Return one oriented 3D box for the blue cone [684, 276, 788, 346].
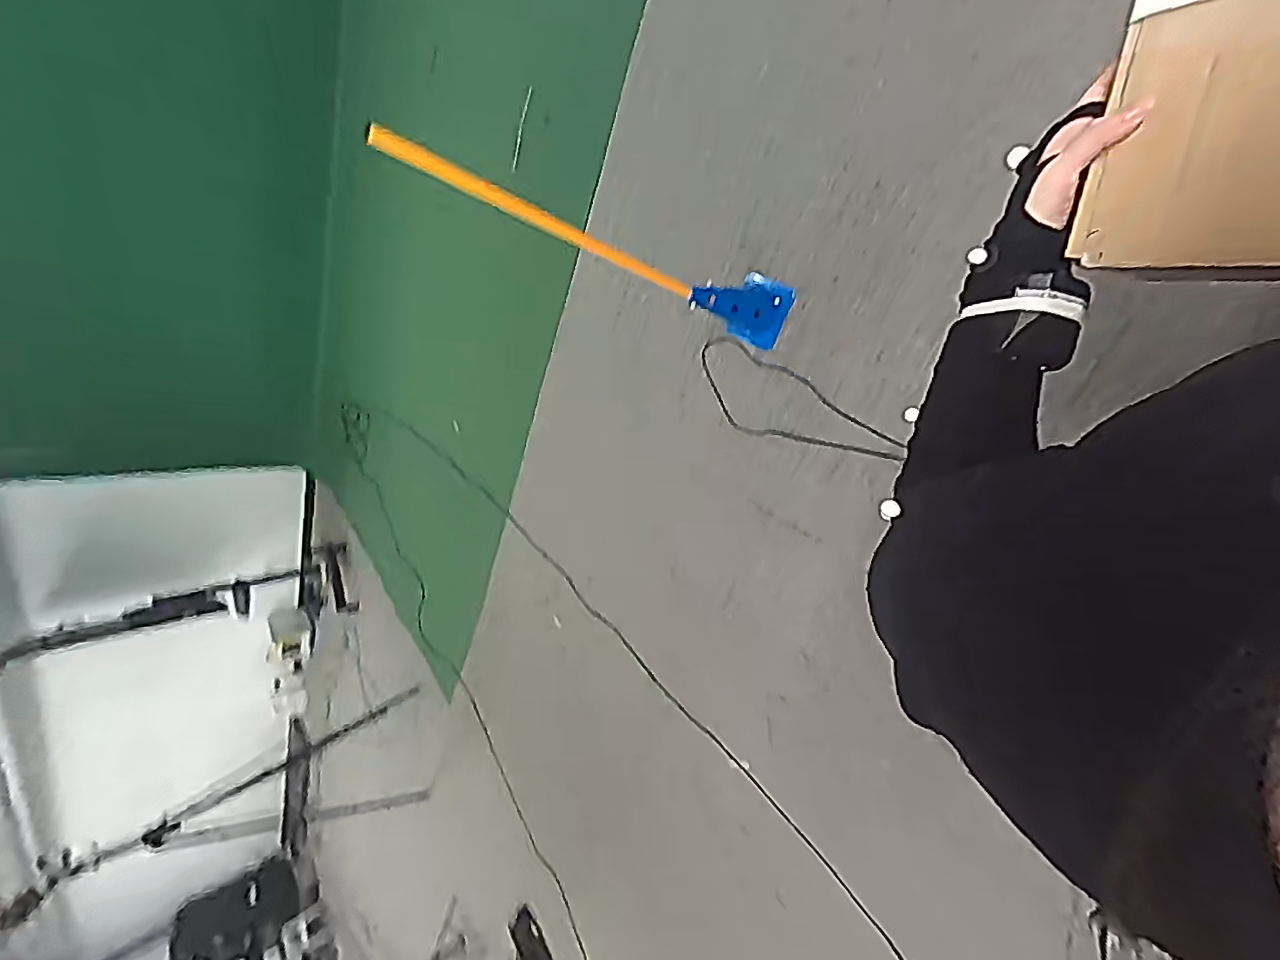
[{"bbox_3d":[0.250,-0.527,1.589,0.192,0.380,0.193,37,118,35],"label":"blue cone"}]
